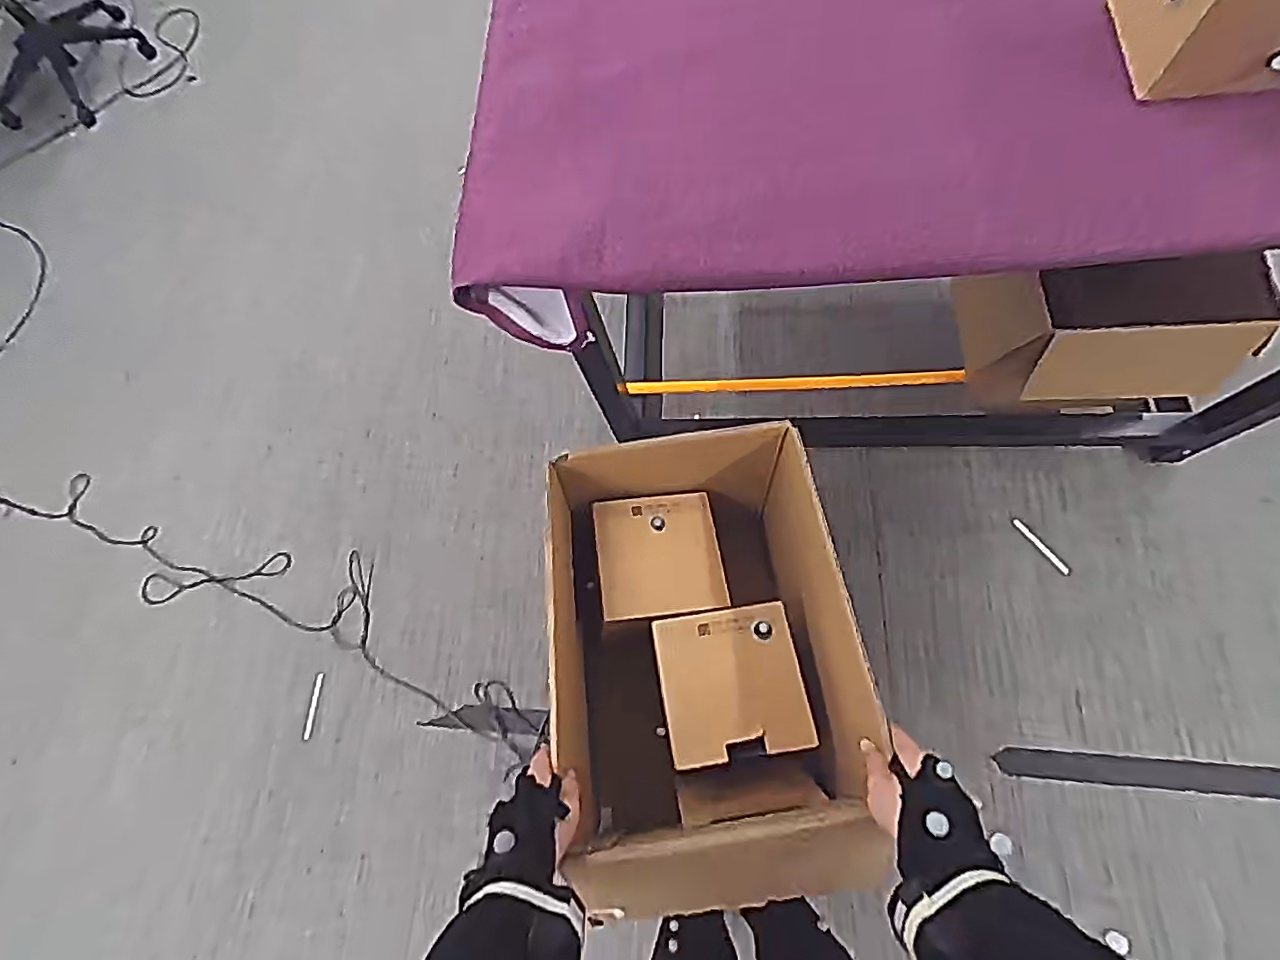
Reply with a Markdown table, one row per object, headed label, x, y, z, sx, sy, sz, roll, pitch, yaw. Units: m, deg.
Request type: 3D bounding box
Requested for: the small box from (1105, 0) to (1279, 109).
| label | x | y | z | sx | sy | sz | roll | pitch | yaw |
| --- | --- | --- | --- | --- | --- | --- | --- | --- | --- |
| small box | 0.605 | -0.494 | 0.510 | 0.179 | 0.176 | 0.168 | 1 | 71 | 10 |
